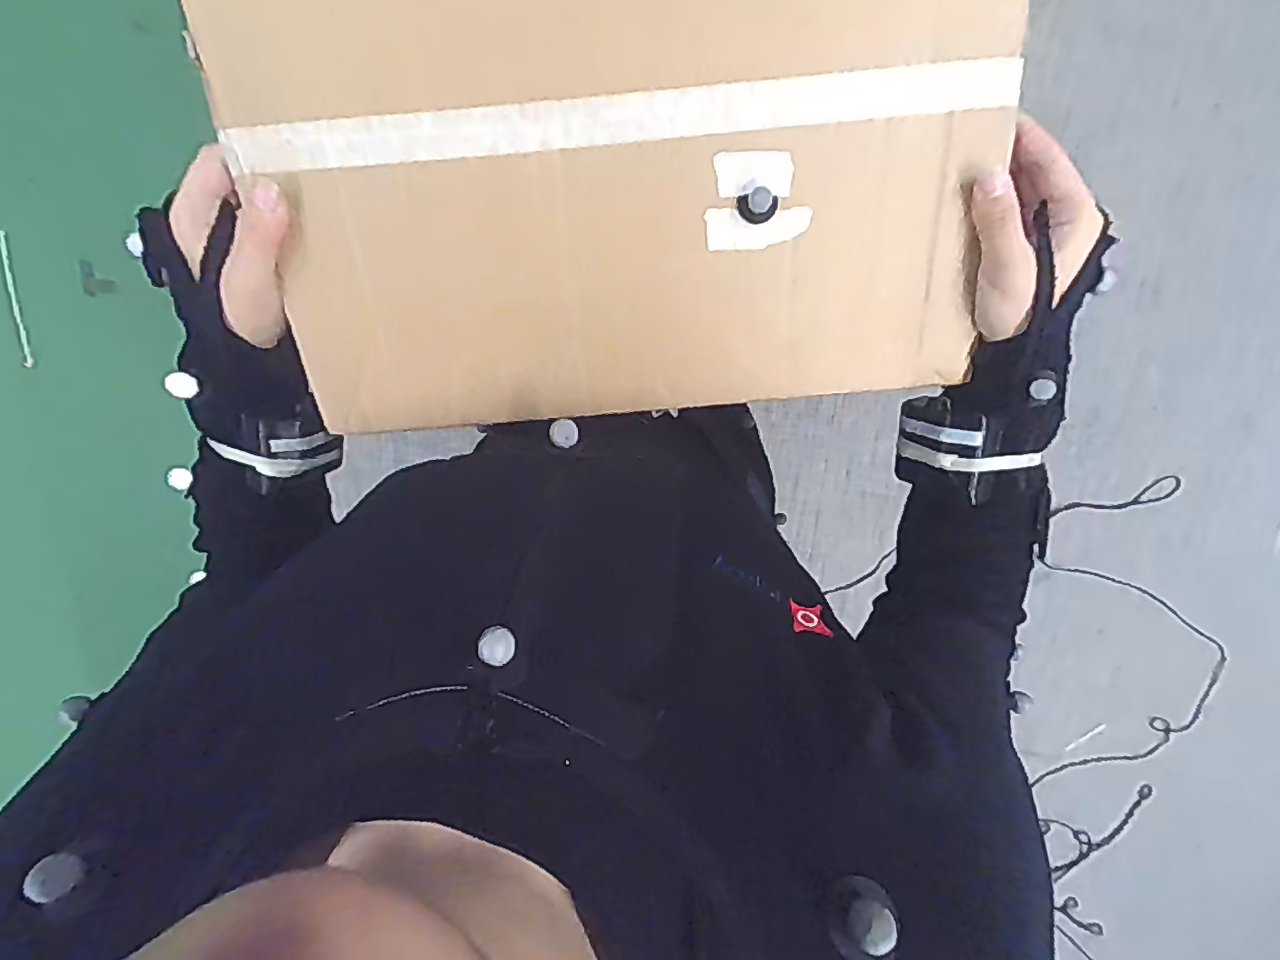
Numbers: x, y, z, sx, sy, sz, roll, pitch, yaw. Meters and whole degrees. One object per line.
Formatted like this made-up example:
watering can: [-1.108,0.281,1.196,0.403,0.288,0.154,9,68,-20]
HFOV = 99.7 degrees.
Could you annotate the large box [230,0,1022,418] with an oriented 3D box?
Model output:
large box: [-0.008,-0.256,0.426,0.408,0.320,0.320,-5,114,-1]
